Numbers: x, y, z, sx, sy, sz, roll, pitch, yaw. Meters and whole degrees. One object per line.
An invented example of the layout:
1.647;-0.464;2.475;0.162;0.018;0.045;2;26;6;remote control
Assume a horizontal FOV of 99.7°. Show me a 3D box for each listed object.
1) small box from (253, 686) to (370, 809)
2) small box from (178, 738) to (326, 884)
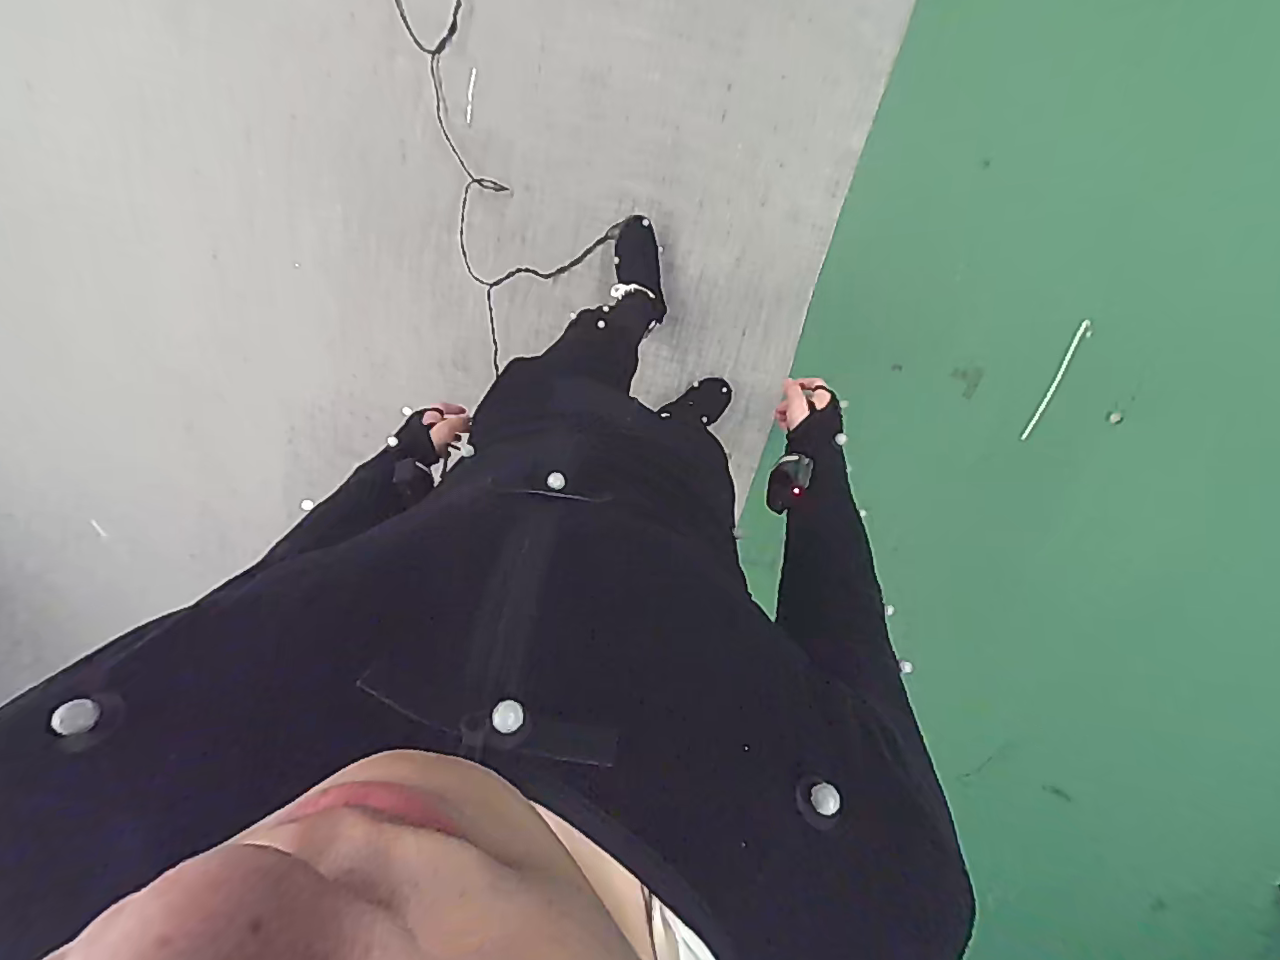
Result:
-0.765;0.615;1.263;0.179;0.176;0.168;20;108;0;small box
-0.789;0.665;1.108;0.179;0.176;0.168;19;109;1;small box
